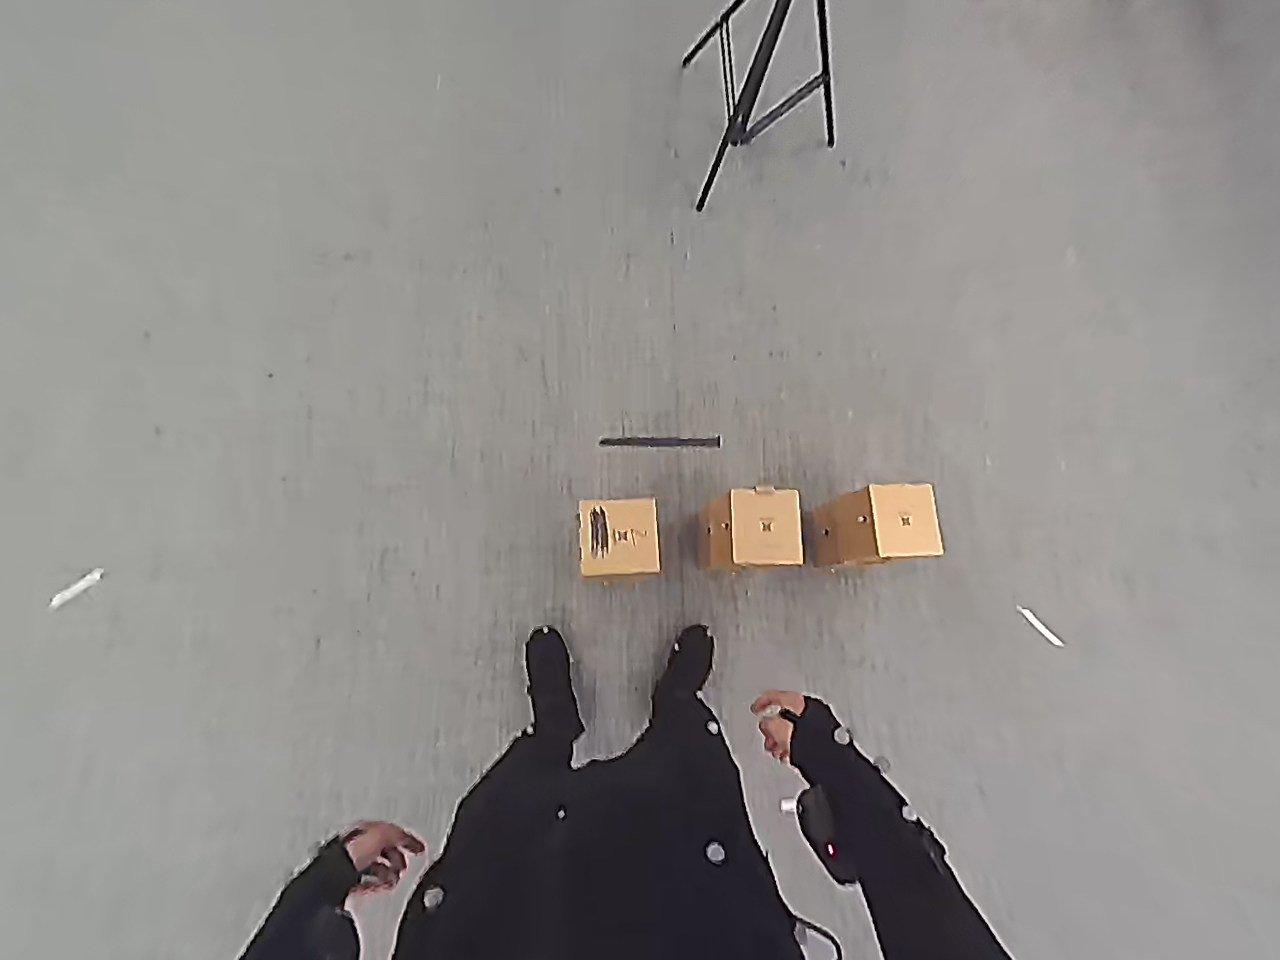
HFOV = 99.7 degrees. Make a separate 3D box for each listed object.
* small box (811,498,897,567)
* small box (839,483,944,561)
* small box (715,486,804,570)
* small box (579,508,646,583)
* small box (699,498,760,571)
[{"bbox_3d":[0.596,0.149,1.509,0.168,0.176,0.179,-1,76,-8],"label":"small box"},{"bbox_3d":[0.619,0.111,1.352,0.168,0.176,0.179,-1,76,-8],"label":"small box"},{"bbox_3d":[0.280,0.120,1.304,0.168,0.176,0.179,2,76,-6],"label":"small box"},{"bbox_3d":[-0.075,0.176,1.418,0.168,0.176,0.179,0,76,-6],"label":"small box"},{"bbox_3d":[0.258,0.152,1.464,0.168,0.176,0.179,2,77,-7],"label":"small box"}]
